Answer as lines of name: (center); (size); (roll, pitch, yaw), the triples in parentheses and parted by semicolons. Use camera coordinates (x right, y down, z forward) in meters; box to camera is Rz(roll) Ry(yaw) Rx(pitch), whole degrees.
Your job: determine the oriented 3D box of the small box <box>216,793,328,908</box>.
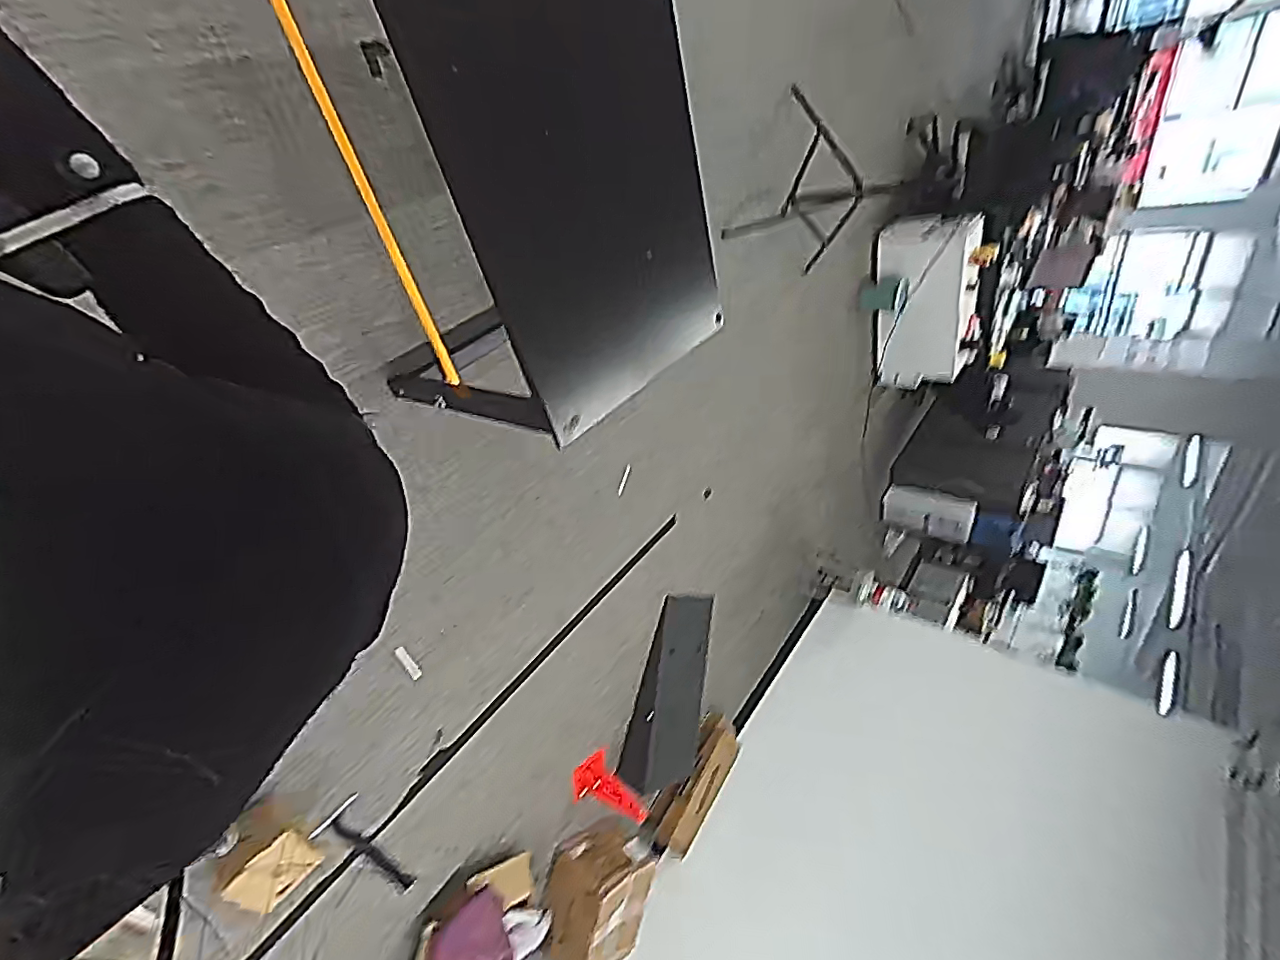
small box: (-0.995, 0.989, 1.459); (0.168, 0.176, 0.179); (-42, 131, -33)
